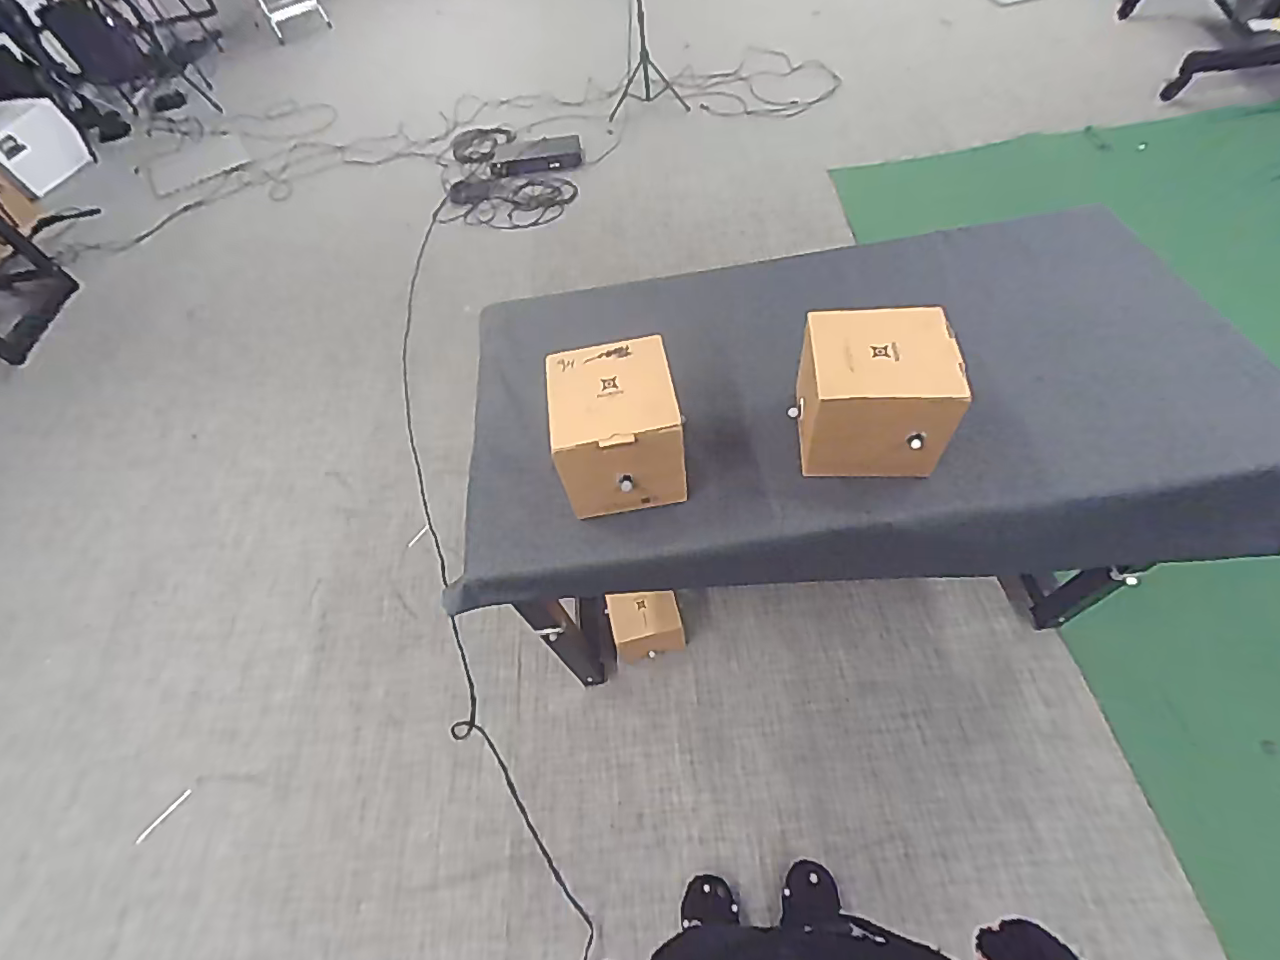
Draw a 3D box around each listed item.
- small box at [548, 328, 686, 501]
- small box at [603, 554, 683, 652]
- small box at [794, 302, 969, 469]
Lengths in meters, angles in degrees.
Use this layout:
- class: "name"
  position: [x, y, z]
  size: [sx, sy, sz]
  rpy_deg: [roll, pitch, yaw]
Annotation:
- class: "small box"
  position: [-0.029, -0.084, 0.775]
  size: [0.168, 0.176, 0.179]
  rpy_deg: [-10, 56, 0]
- class: "small box"
  position: [0.009, 0.318, 1.385]
  size: [0.168, 0.176, 0.179]
  rpy_deg: [-14, 57, -1]
- class: "small box"
  position: [0.321, -0.127, 0.759]
  size: [0.179, 0.176, 0.168]
  rpy_deg: [0, 56, 9]
